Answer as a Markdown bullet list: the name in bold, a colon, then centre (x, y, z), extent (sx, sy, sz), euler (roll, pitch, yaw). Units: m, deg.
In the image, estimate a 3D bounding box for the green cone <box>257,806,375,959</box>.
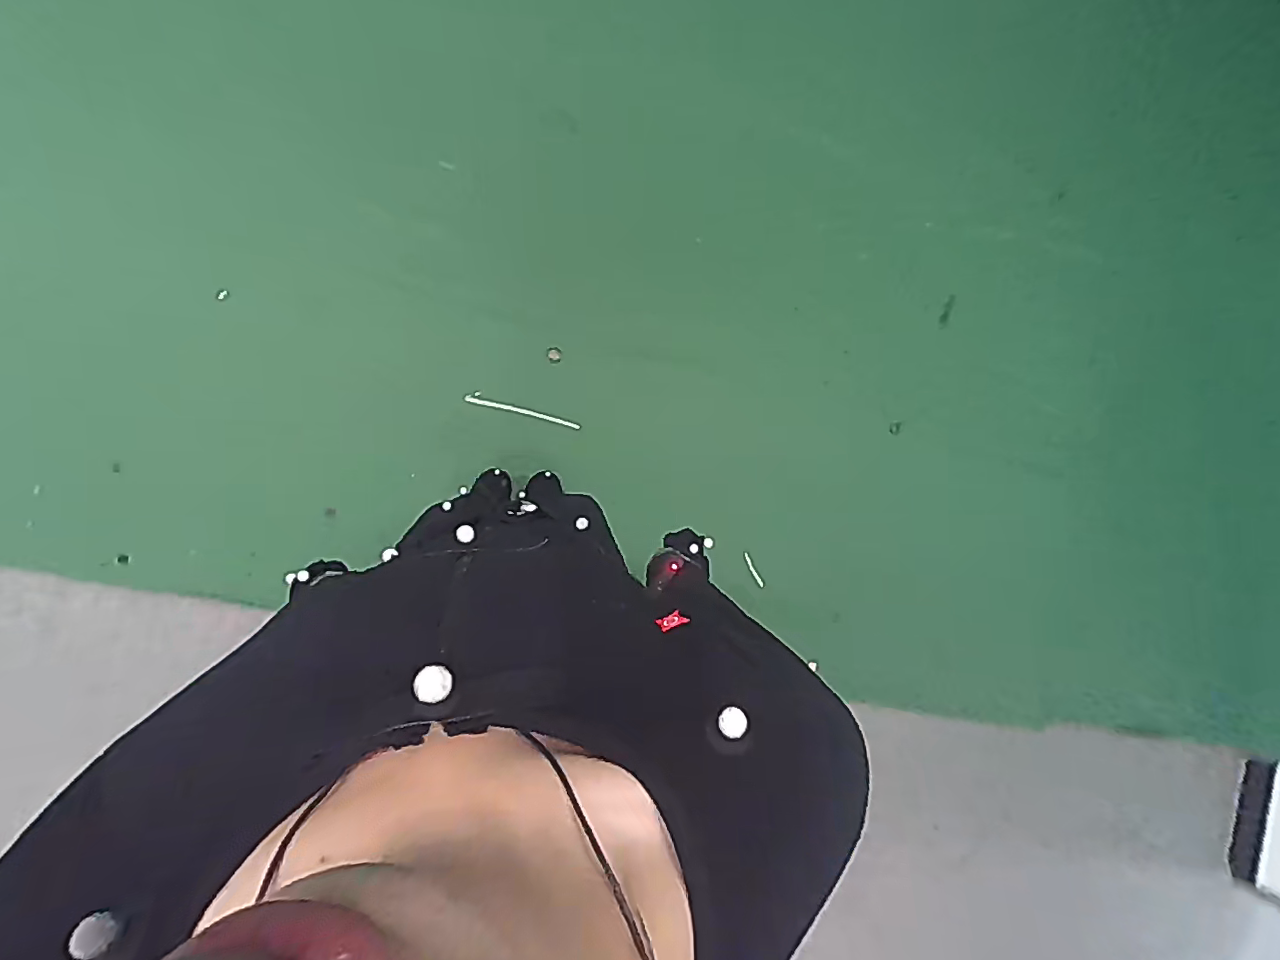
- **green cone**: centre (-0.789, 0.969, 1.250), extent (0.200, 0.368, 0.202), euler (16, 90, -10)
